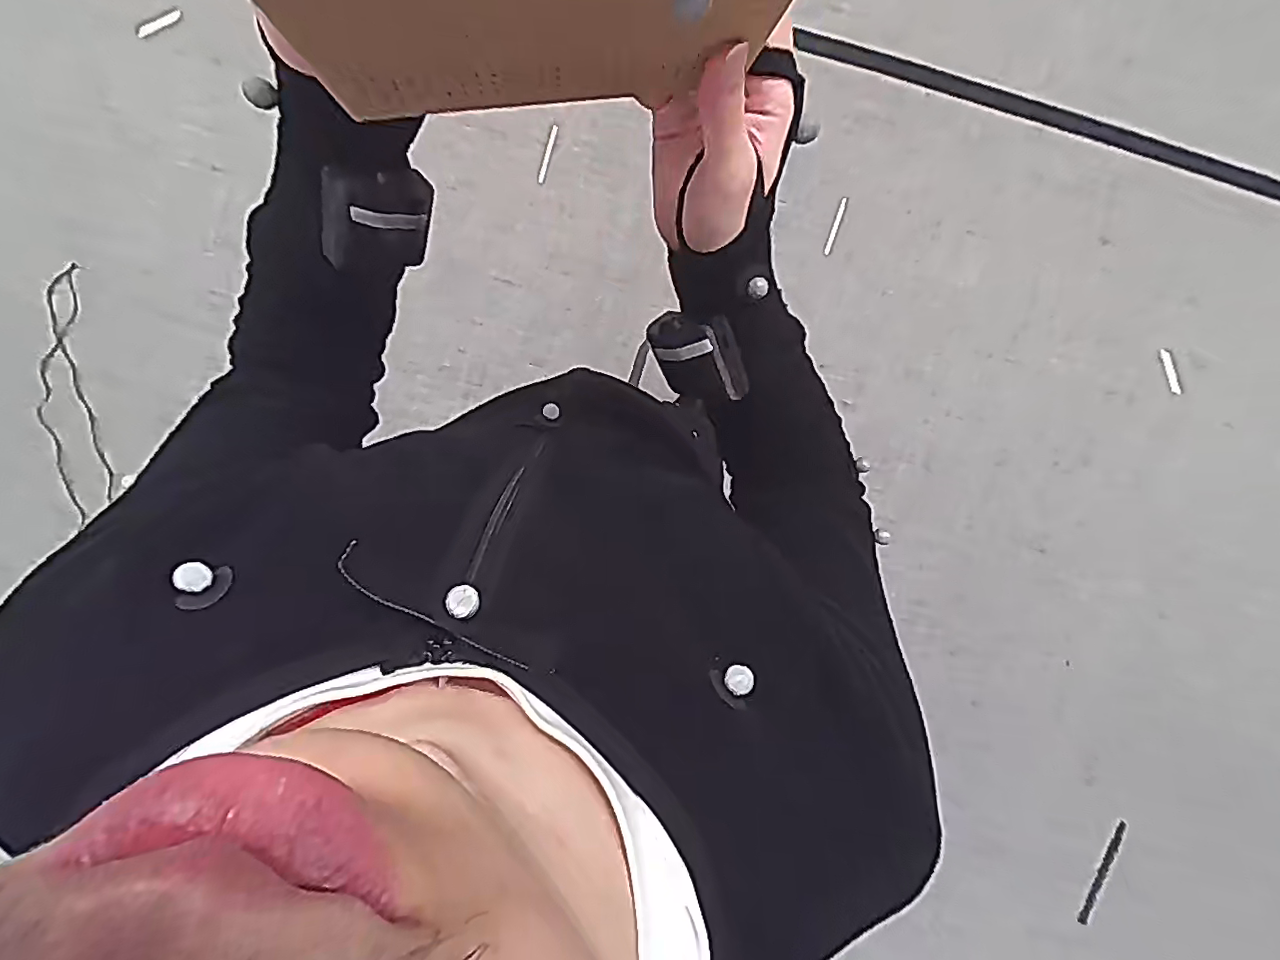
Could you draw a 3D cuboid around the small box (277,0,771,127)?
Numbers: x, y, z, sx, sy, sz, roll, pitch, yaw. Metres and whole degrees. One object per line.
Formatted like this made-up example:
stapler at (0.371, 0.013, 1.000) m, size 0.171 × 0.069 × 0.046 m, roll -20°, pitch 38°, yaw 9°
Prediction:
small box at (-0.039, -0.235, 0.160) m, size 0.179 × 0.176 × 0.168 m, roll -10°, pitch 102°, yaw -5°
